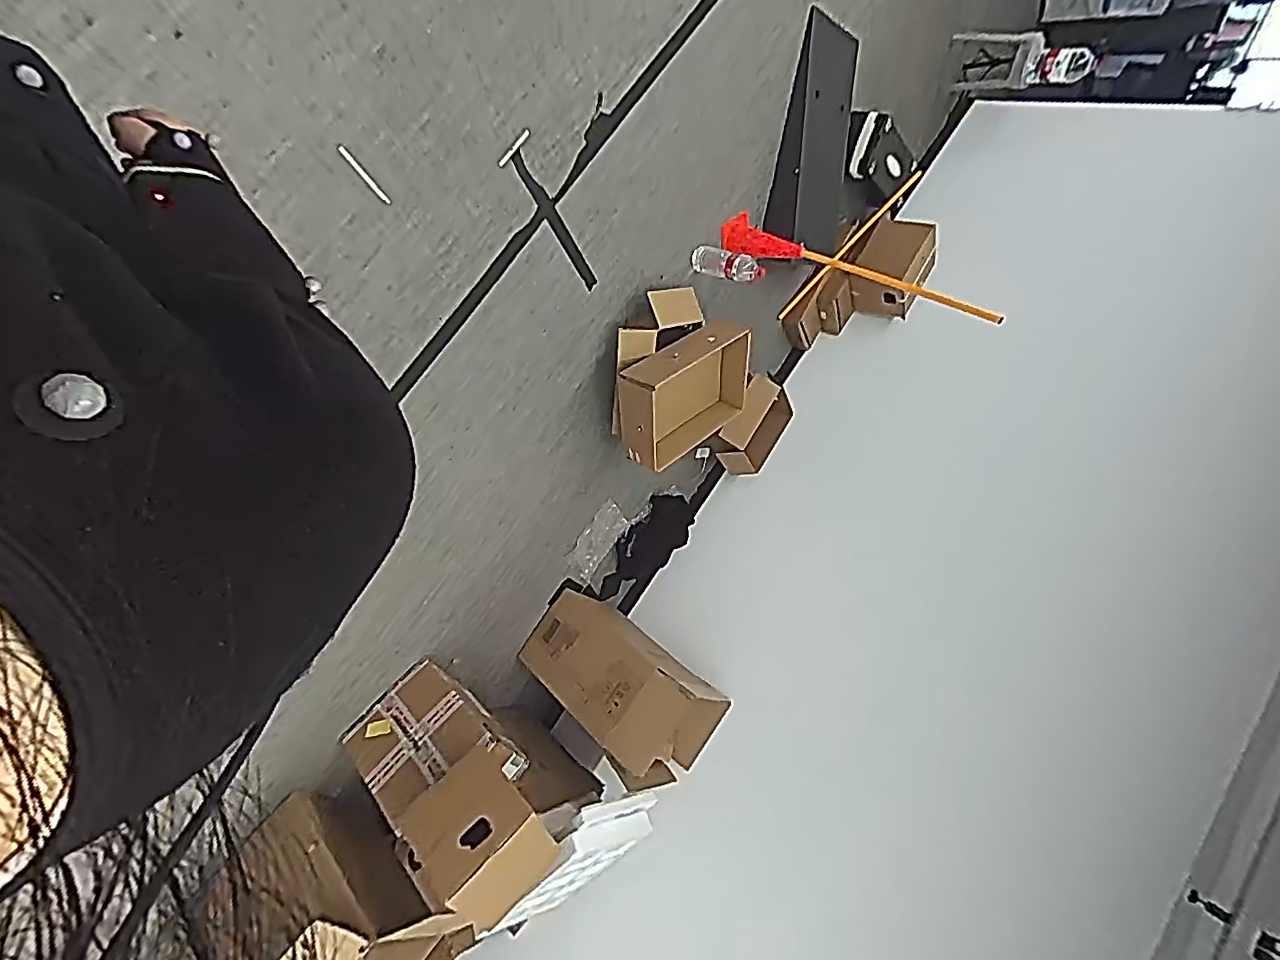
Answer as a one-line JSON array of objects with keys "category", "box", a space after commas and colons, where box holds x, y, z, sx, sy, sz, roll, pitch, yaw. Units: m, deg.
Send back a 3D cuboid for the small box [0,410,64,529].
[{"category": "small box", "box": [-1.192, -0.023, 0.985, 0.168, 0.176, 0.179, -13, 125, -48]}]
